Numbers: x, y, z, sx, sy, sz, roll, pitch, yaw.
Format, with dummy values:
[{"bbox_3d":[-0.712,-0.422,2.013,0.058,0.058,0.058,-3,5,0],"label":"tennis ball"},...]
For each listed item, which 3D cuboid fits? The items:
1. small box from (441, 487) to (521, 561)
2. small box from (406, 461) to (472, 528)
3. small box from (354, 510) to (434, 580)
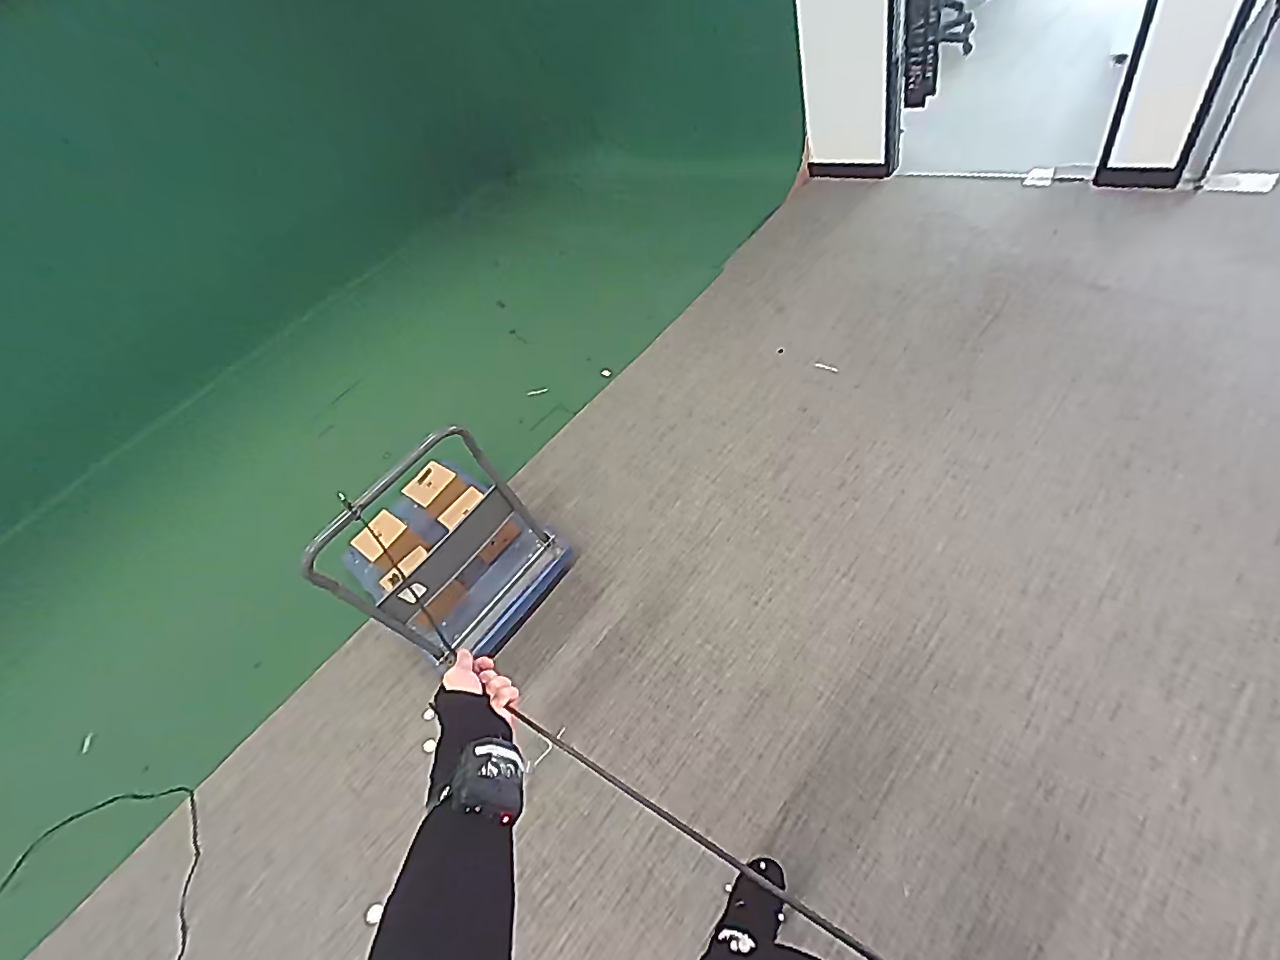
[{"bbox_3d":[-0.561,0.161,1.921,0.179,0.176,0.168,29,68,36],"label":"small box"},{"bbox_3d":[-0.753,0.061,2.082,0.179,0.176,0.168,24,66,34],"label":"small box"},{"bbox_3d":[-0.899,0.246,1.993,0.179,0.176,0.168,23,64,35],"label":"small box"}]
